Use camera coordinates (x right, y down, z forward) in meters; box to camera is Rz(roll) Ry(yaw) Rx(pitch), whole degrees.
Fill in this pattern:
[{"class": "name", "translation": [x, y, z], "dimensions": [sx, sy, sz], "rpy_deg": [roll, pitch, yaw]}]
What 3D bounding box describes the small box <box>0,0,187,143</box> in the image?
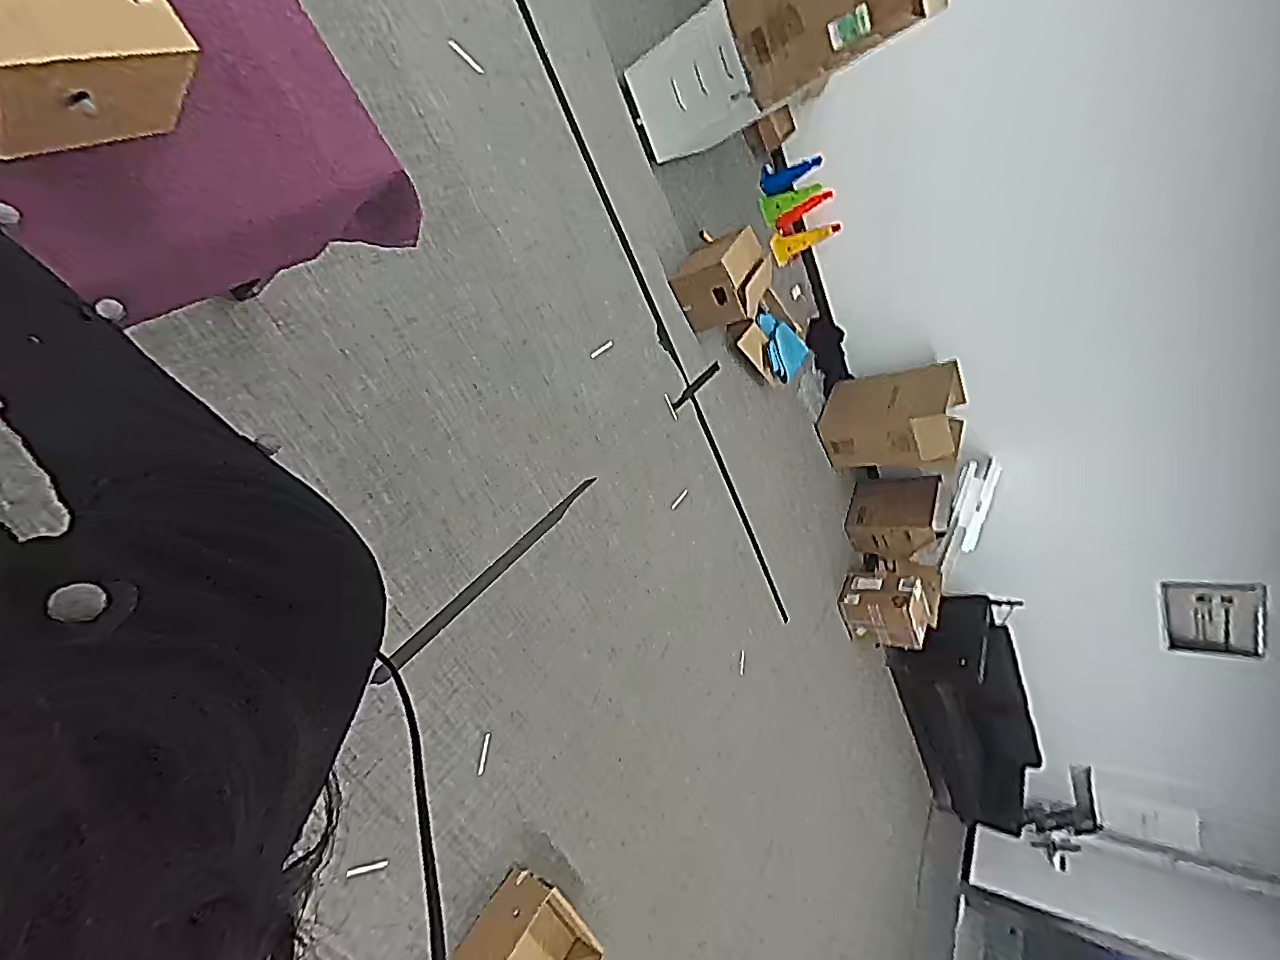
[{"class": "small box", "translation": [-0.592, -0.454, 0.514], "dimensions": [0.179, 0.176, 0.168], "rpy_deg": [-50, 122, -39]}]
